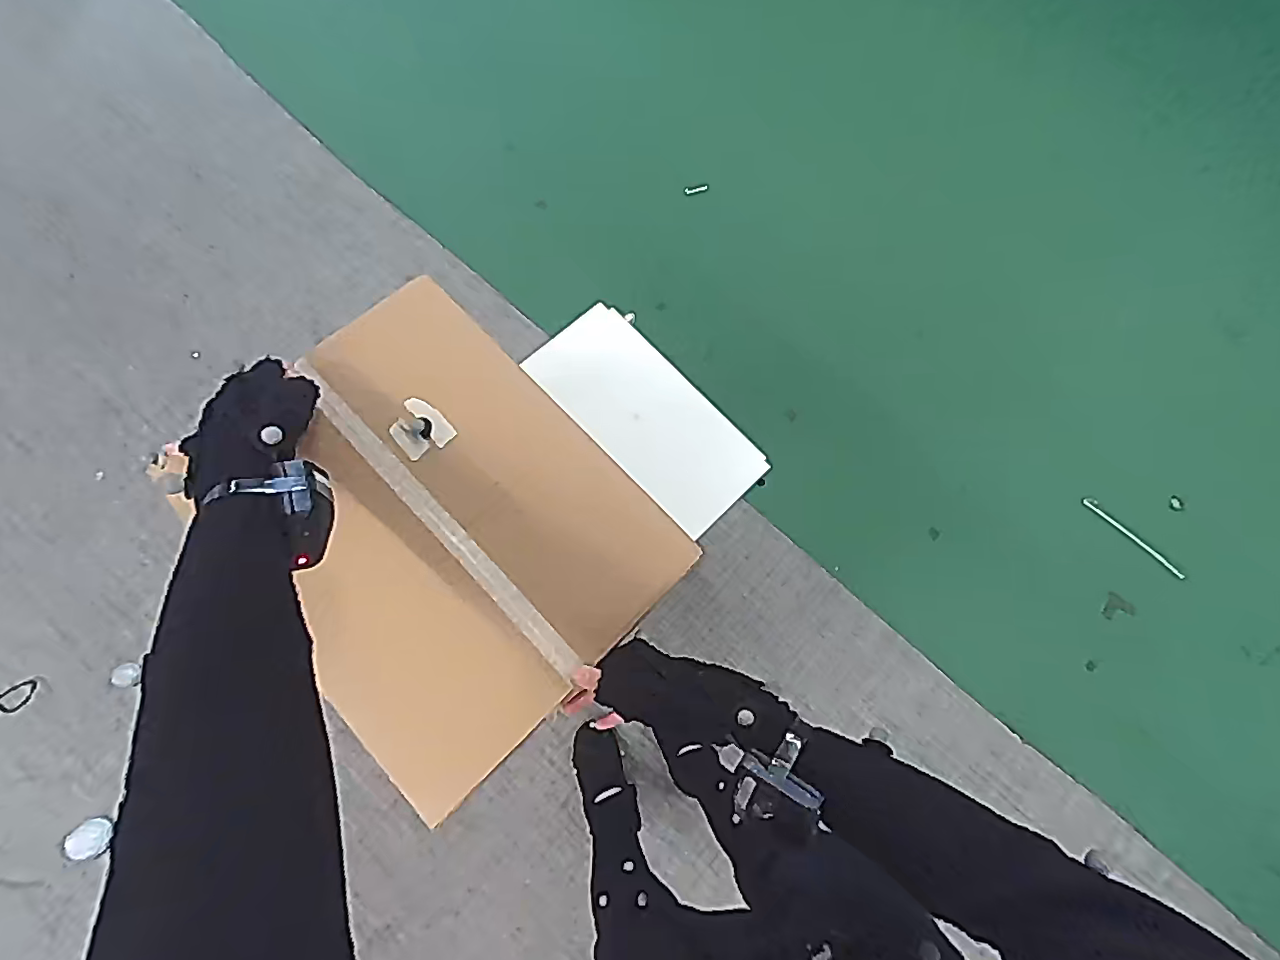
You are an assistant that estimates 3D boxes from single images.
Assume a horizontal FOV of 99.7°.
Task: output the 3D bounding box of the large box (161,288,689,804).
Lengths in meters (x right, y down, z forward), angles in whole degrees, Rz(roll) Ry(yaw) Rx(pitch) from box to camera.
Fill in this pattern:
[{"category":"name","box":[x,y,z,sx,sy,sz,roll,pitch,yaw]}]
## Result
[{"category":"large box","box":[-0.203,0.073,0.641,0.408,0.320,0.320,44,75,10]}]
